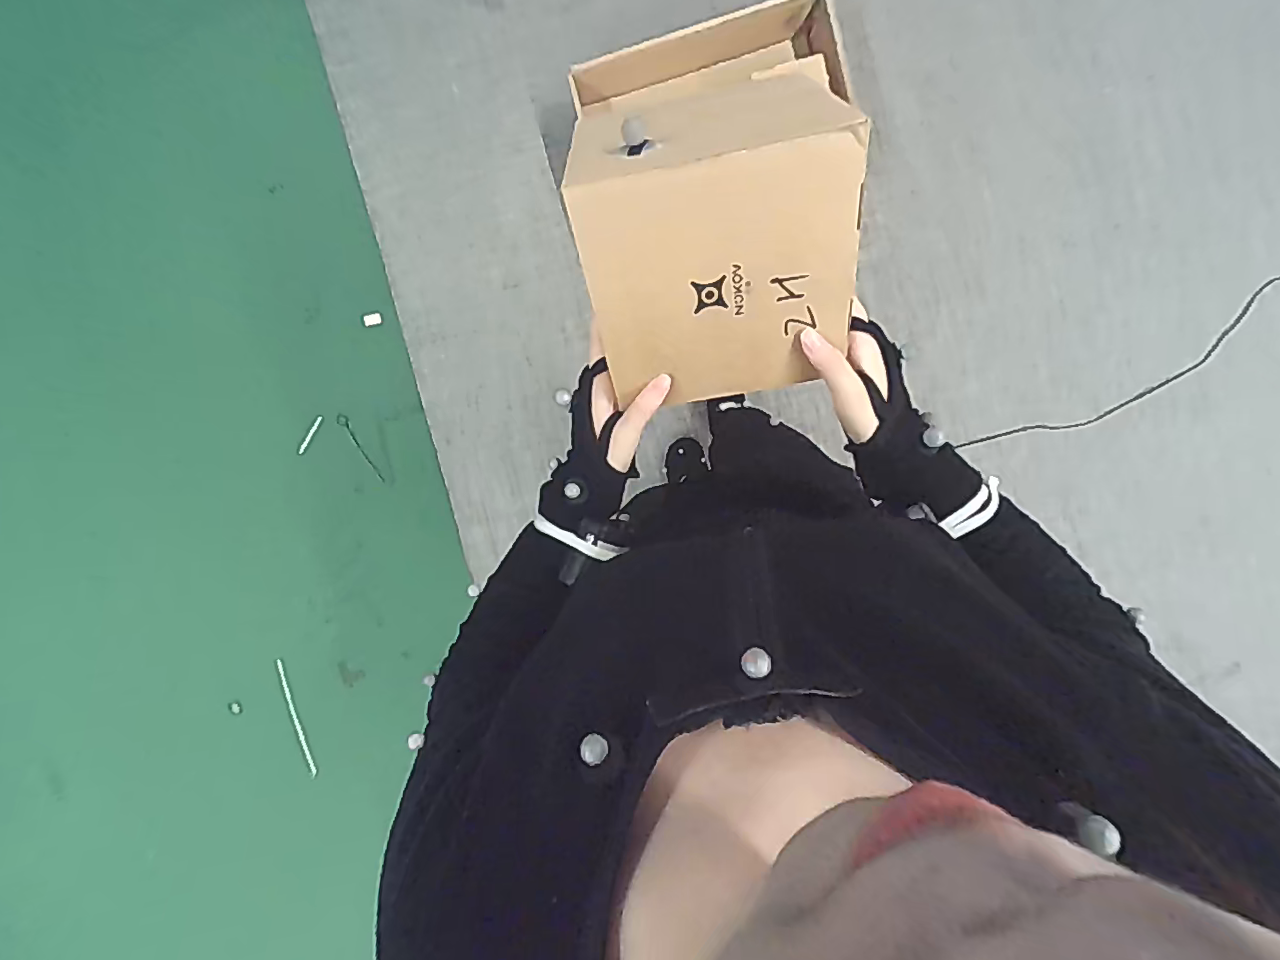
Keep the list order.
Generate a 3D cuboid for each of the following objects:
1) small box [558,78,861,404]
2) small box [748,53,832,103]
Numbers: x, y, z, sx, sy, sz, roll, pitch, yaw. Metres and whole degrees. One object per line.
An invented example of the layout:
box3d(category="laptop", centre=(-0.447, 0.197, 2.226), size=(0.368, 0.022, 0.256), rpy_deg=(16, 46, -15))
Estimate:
box3d(category="small box", centre=(0.048, -0.184, 0.418), size=(0.179, 0.176, 0.168), rpy_deg=(-8, 135, 6))
box3d(category="small box", centre=(0.348, -0.851, 1.285), size=(0.168, 0.176, 0.179), rpy_deg=(-13, 94, 4))
